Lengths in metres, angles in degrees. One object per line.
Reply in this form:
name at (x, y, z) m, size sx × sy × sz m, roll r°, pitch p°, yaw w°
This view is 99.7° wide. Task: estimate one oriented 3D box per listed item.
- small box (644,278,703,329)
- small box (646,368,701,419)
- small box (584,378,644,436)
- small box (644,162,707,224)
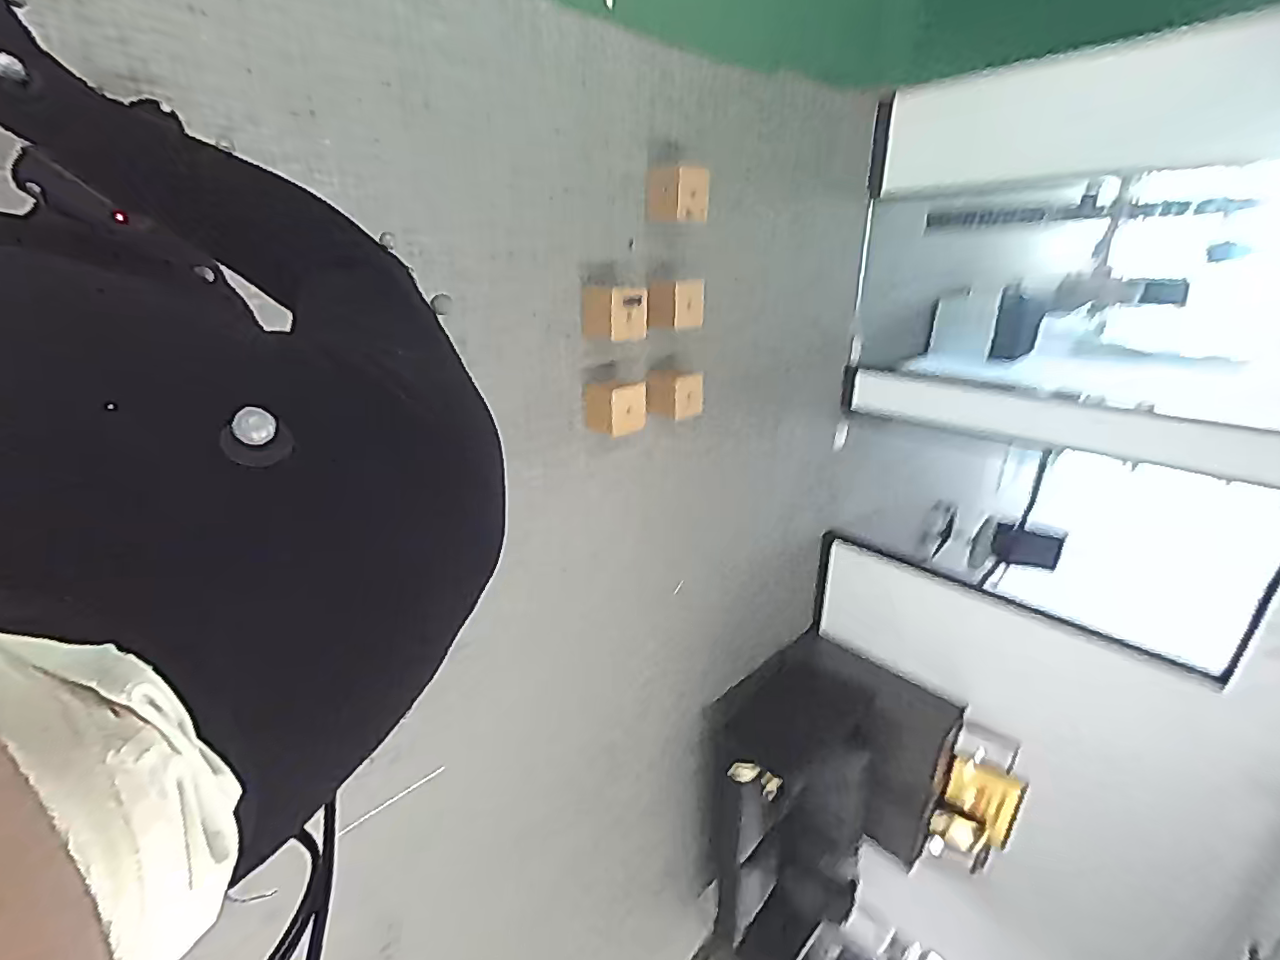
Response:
small box at (0.128, -0.697, 2.127) m, size 0.168 × 0.176 × 0.179 m, roll -21°, pitch 120°, yaw -39°
small box at (0.138, -0.369, 2.269) m, size 0.168 × 0.176 × 0.179 m, roll -21°, pitch 121°, yaw -38°
small box at (-0.102, -0.286, 2.067) m, size 0.168 × 0.176 × 0.179 m, roll -22°, pitch 122°, yaw -38°
small box at (0.128, -1.047, 1.984) m, size 0.168 × 0.176 × 0.179 m, roll -17°, pitch 117°, yaw -40°
